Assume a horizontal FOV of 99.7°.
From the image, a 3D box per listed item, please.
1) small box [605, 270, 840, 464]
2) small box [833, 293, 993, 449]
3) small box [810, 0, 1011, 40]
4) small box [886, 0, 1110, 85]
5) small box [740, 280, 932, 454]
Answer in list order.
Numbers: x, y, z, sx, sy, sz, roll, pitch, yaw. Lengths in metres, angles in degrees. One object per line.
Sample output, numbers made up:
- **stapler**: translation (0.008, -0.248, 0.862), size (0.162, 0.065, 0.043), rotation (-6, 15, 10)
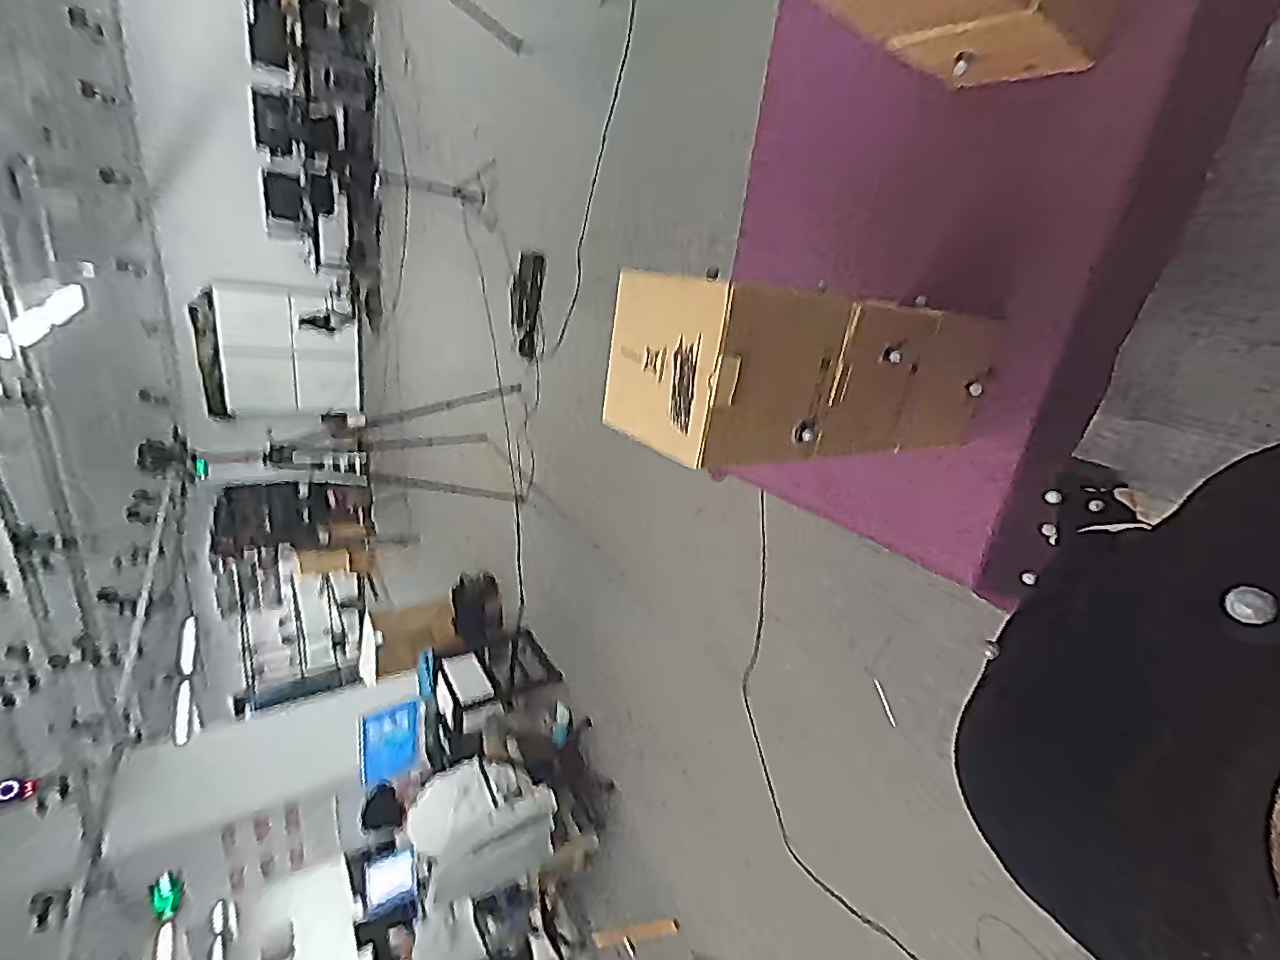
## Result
- **small box**: translation (0.084, -0.126, 0.587), size (0.179, 0.176, 0.168), rotation (33, 120, 50)
- **small box**: translation (0.359, -0.154, 0.764), size (0.168, 0.176, 0.179), rotation (35, 122, 48)
- **small box**: translation (0.283, -0.564, 0.522), size (0.179, 0.176, 0.168), rotation (38, 124, 47)
- **small box**: translation (0.422, -0.576, 0.611), size (0.168, 0.176, 0.179), rotation (35, 123, 48)
- **small box**: translation (0.223, -0.144, 0.674), size (0.179, 0.176, 0.168), rotation (37, 123, 48)
